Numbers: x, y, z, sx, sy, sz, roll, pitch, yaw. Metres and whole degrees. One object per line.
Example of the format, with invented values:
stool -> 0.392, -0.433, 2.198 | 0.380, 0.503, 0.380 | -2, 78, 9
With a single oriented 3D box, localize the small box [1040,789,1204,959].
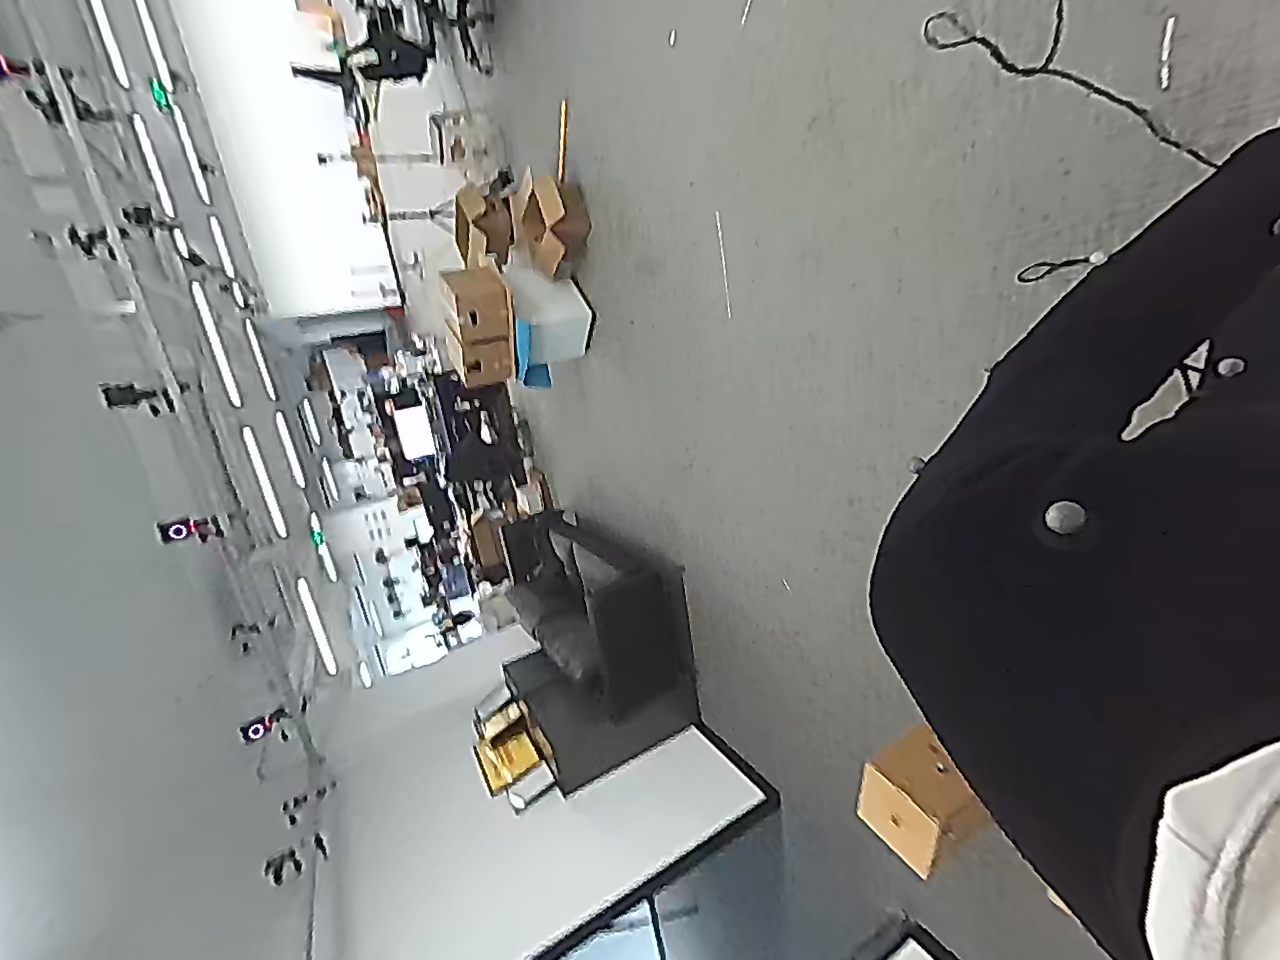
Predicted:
small box -> 0.866, 0.713, 0.977 | 0.168, 0.176, 0.179 | 24, 126, 56

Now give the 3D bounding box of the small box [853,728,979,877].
small box -> 0.580, 0.671, 1.143 | 0.168, 0.176, 0.179 | 32, 132, 52
